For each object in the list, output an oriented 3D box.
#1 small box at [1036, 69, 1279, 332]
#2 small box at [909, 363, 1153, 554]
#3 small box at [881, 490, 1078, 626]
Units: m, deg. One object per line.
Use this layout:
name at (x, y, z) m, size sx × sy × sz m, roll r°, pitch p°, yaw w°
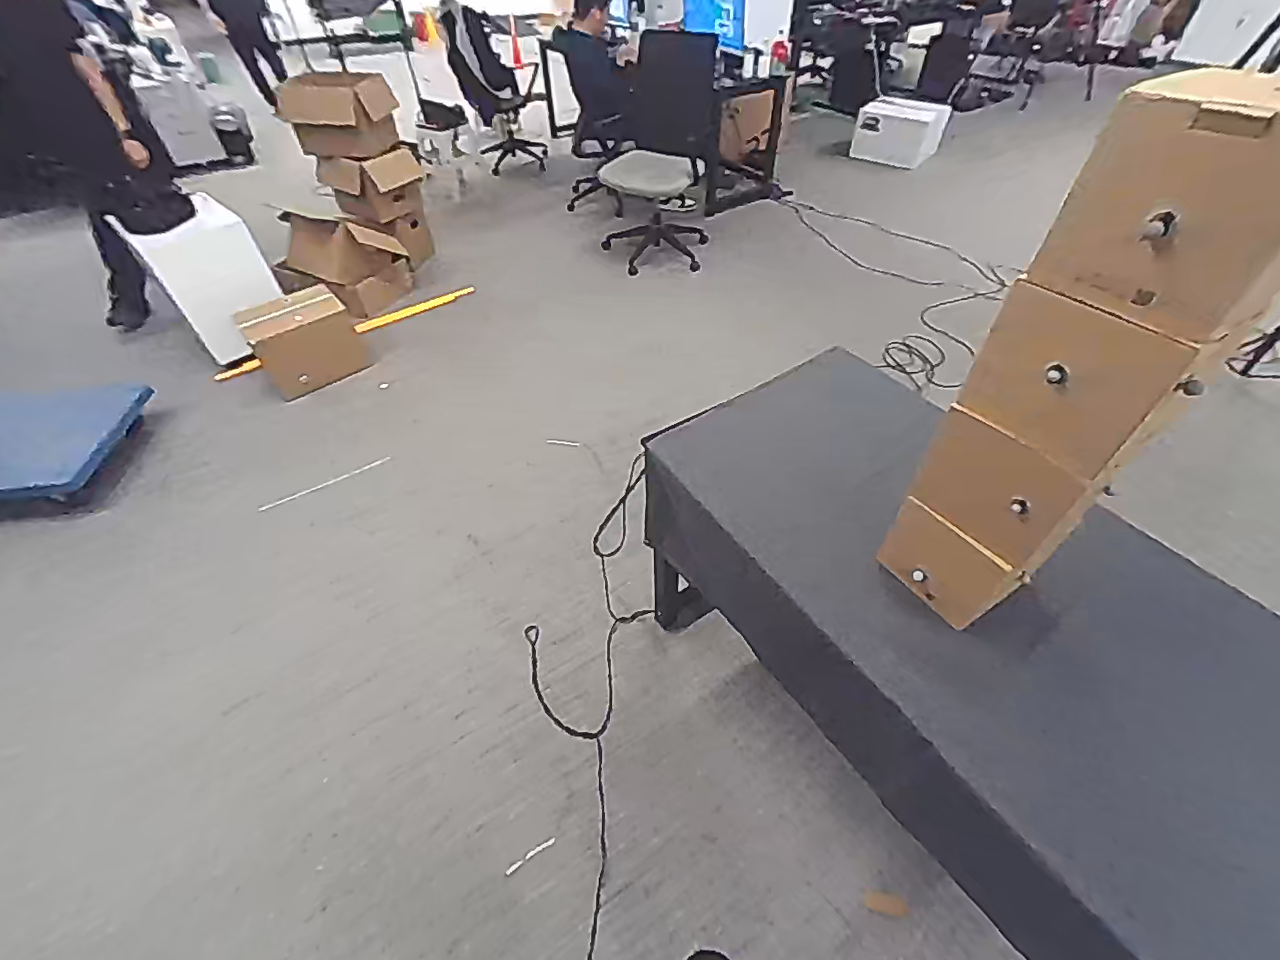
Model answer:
small box at (0.521, -0.261, 0.506) m, size 0.179 × 0.176 × 0.168 m, roll -26°, pitch 50°, yaw -22°
small box at (0.510, -0.024, 0.731) m, size 0.168 × 0.176 × 0.179 m, roll -26°, pitch 51°, yaw -23°
small box at (0.512, 0.092, 0.845) m, size 0.179 × 0.176 × 0.168 m, roll -25°, pitch 50°, yaw -20°
